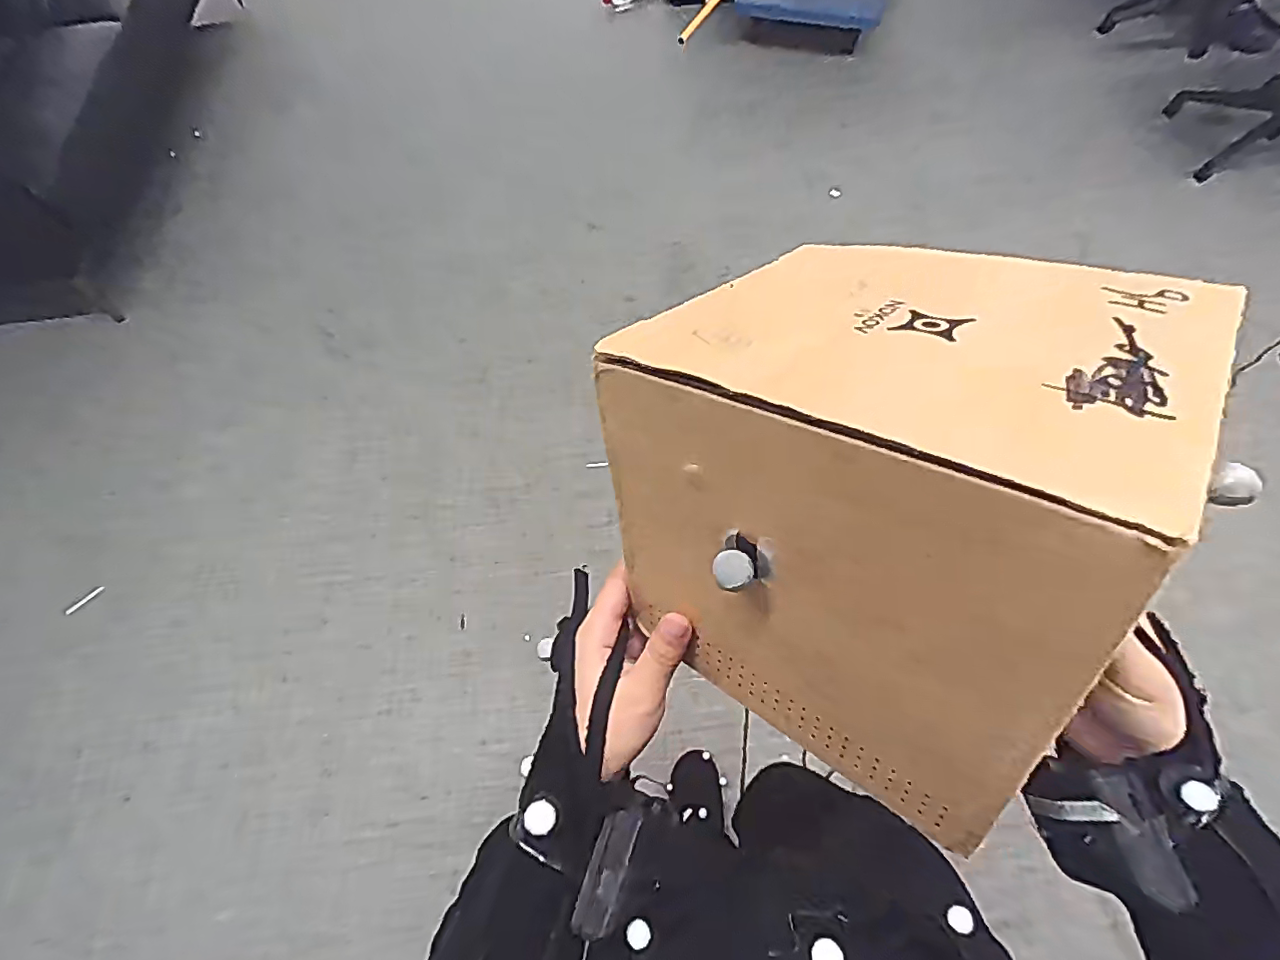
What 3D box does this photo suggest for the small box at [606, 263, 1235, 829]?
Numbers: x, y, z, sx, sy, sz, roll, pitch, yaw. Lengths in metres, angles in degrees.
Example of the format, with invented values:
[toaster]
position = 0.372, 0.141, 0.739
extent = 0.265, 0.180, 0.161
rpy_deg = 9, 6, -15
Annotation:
[small box]
position = 0.111, 0.013, 0.253
extent = 0.179, 0.176, 0.168
rpy_deg = 24, 48, 36
